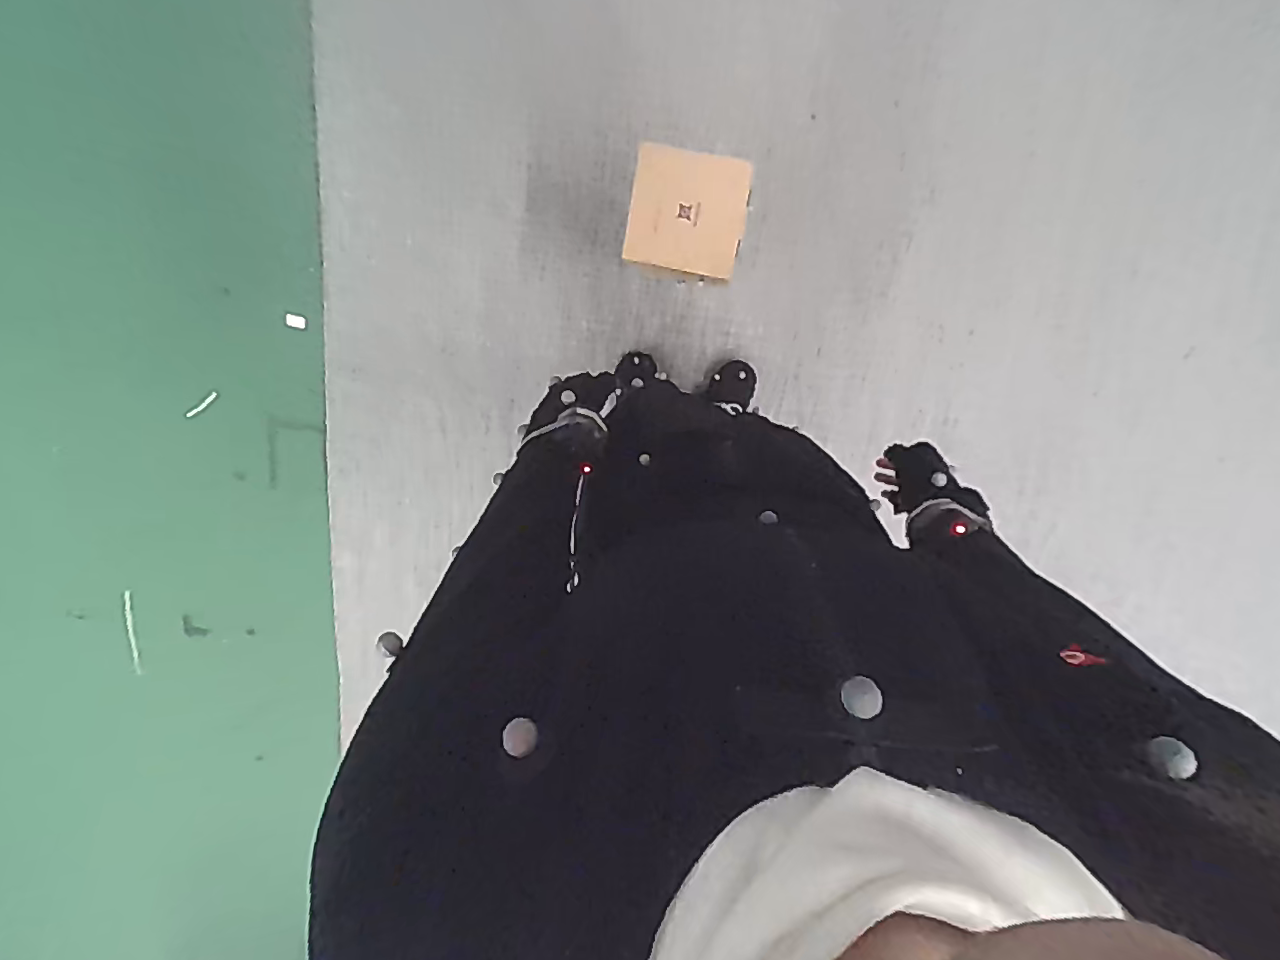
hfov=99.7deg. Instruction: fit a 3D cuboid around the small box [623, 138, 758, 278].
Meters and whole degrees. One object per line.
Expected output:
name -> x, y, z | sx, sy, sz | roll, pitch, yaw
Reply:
small box -> 0.080, -0.433, 0.889 | 0.179, 0.176, 0.168 | 12, 108, 2
